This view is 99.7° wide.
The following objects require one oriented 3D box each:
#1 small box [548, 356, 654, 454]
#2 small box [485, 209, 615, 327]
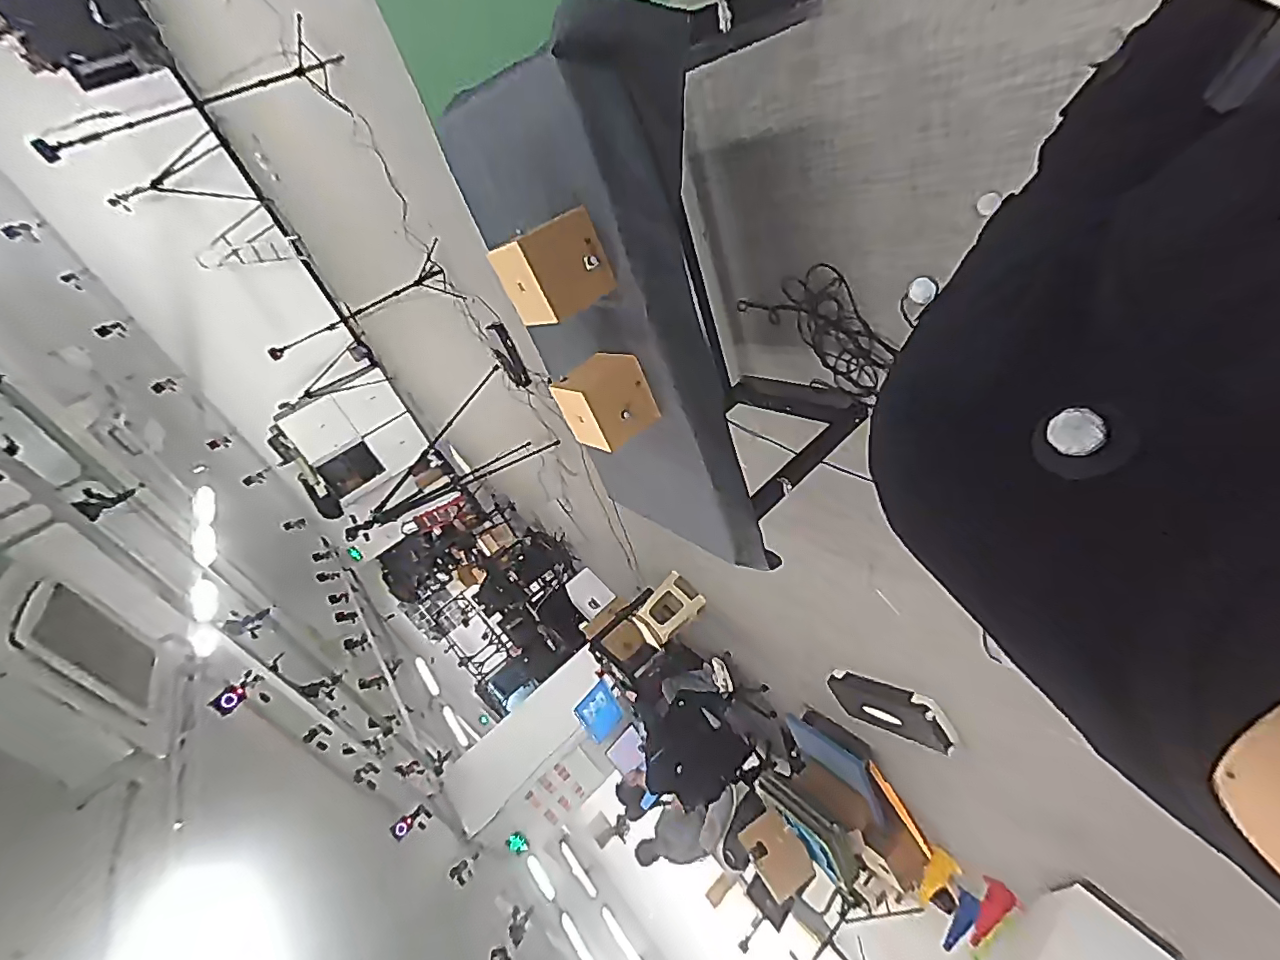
[{"bbox_3d":[-0.086,-0.187,1.308,0.179,0.176,0.168,20,143,53],"label":"small box"},{"bbox_3d":[-0.183,-0.432,1.117,0.179,0.176,0.168,17,141,54],"label":"small box"}]
